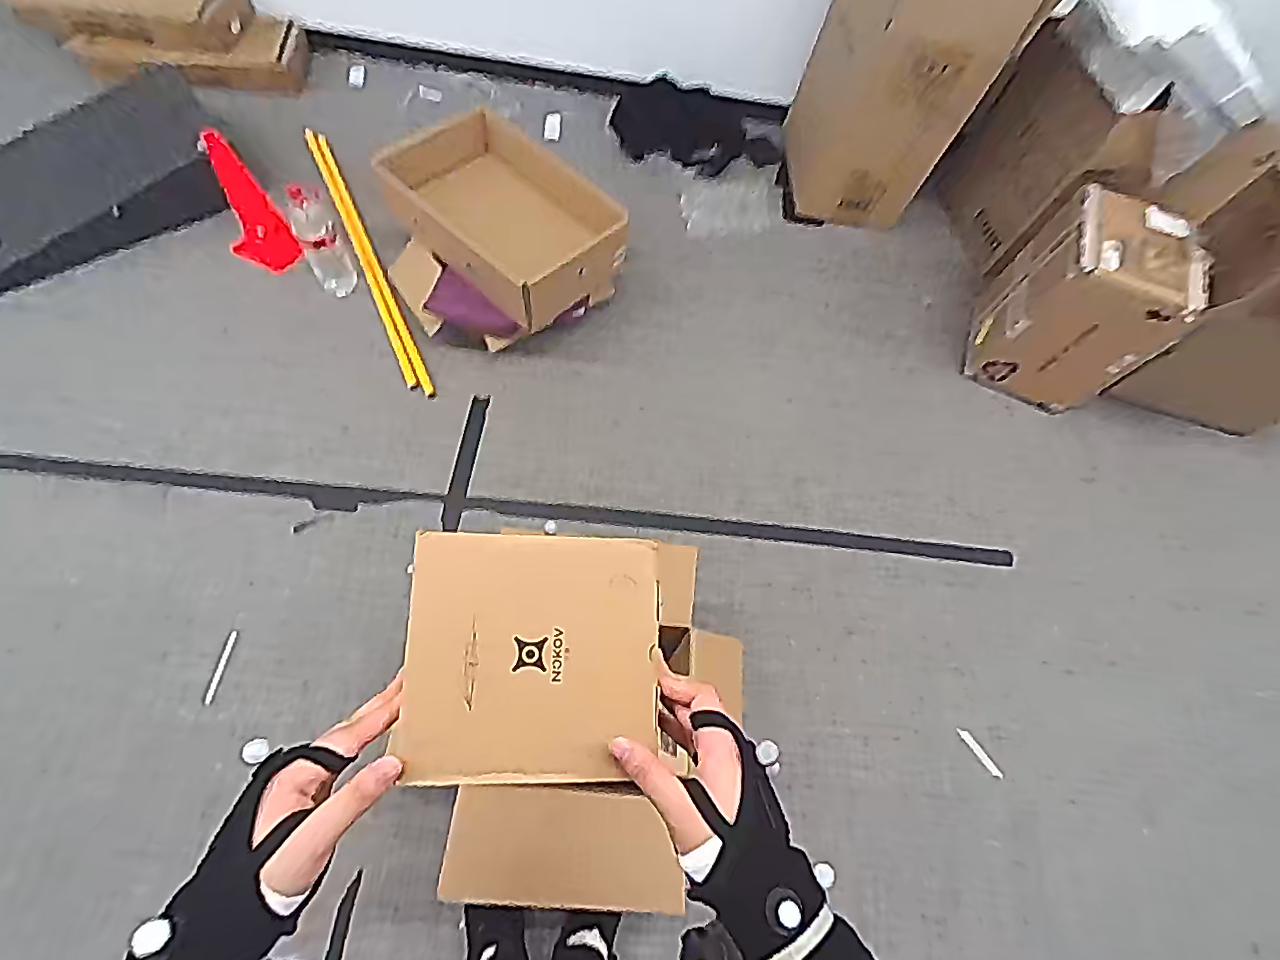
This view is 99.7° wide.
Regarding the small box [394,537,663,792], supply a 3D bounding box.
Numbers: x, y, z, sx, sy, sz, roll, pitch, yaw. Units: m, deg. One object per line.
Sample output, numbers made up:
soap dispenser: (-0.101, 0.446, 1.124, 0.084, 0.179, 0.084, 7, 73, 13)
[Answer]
small box: (-0.081, 0.138, 0.448, 0.179, 0.176, 0.168, 1, 77, -6)
